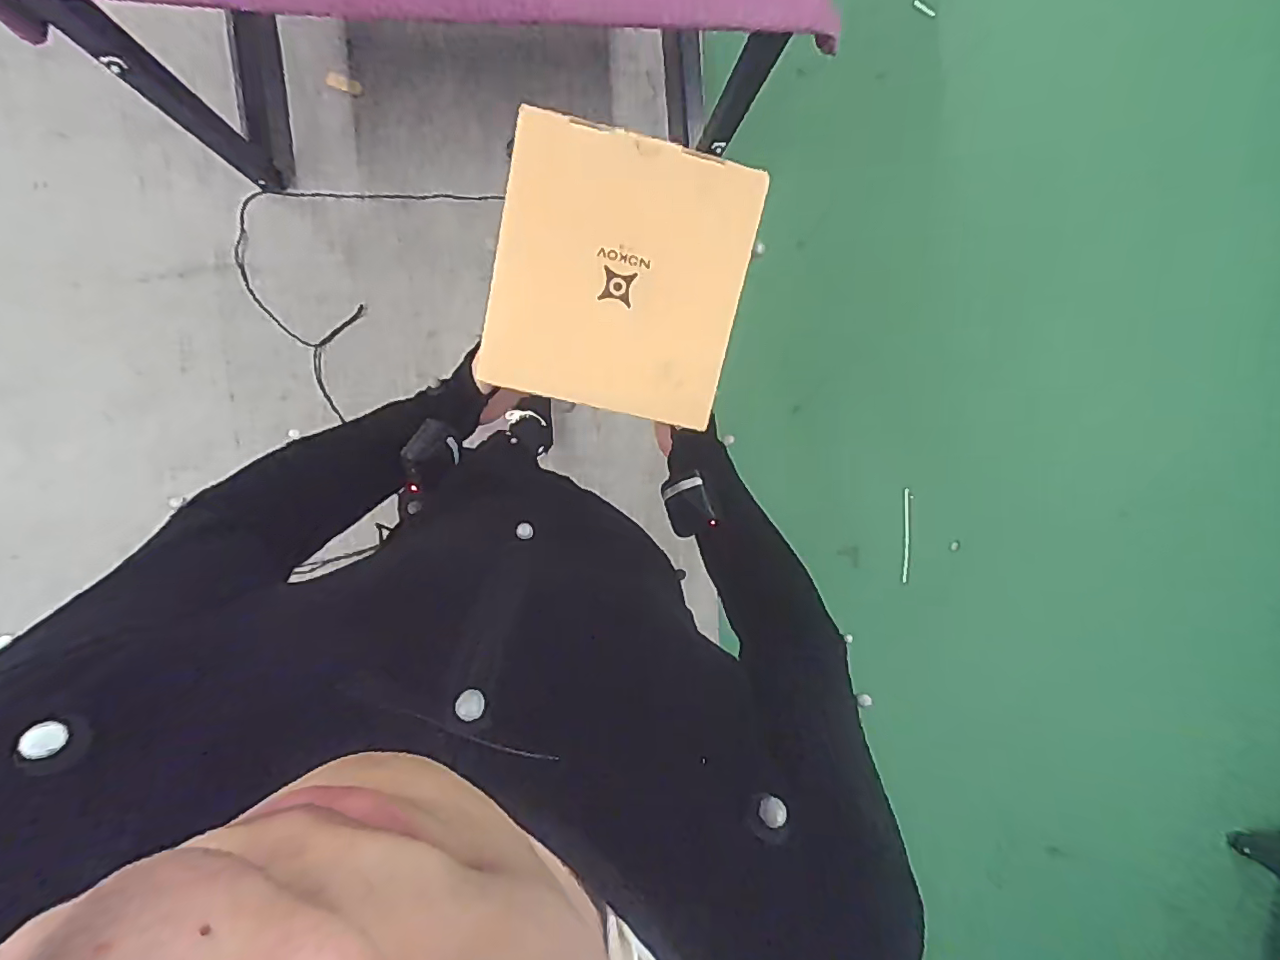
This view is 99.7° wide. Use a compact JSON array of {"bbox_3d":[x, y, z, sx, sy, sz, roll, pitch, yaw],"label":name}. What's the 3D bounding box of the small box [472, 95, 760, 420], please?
[{"bbox_3d":[-0.022,-0.158,0.439,0.168,0.176,0.179,12,101,-6],"label":"small box"}]
